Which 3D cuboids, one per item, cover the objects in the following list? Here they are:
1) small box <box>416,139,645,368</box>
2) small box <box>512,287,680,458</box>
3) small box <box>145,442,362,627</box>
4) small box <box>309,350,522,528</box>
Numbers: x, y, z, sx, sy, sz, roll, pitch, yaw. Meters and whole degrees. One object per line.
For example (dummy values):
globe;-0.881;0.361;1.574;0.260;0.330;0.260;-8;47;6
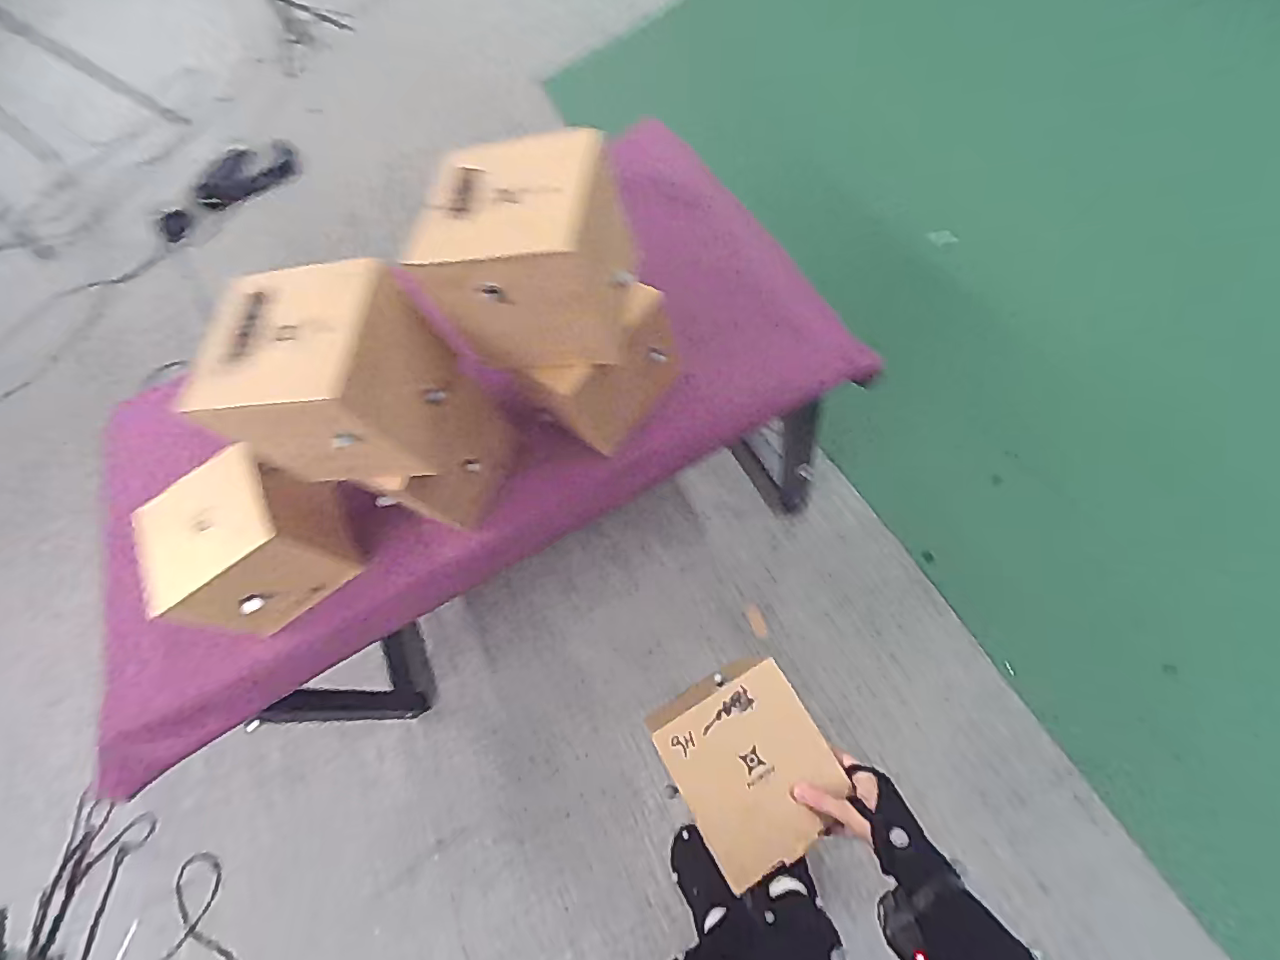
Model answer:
small box;-0.106;-0.239;0.605;0.179;0.176;0.168;2;66;16
small box;-0.061;-0.164;0.744;0.168;0.176;0.179;36;80;26
small box;-0.523;0.086;0.748;0.168;0.176;0.179;-35;62;-3
small box;-0.295;-0.049;0.749;0.179;0.176;0.168;19;72;21
